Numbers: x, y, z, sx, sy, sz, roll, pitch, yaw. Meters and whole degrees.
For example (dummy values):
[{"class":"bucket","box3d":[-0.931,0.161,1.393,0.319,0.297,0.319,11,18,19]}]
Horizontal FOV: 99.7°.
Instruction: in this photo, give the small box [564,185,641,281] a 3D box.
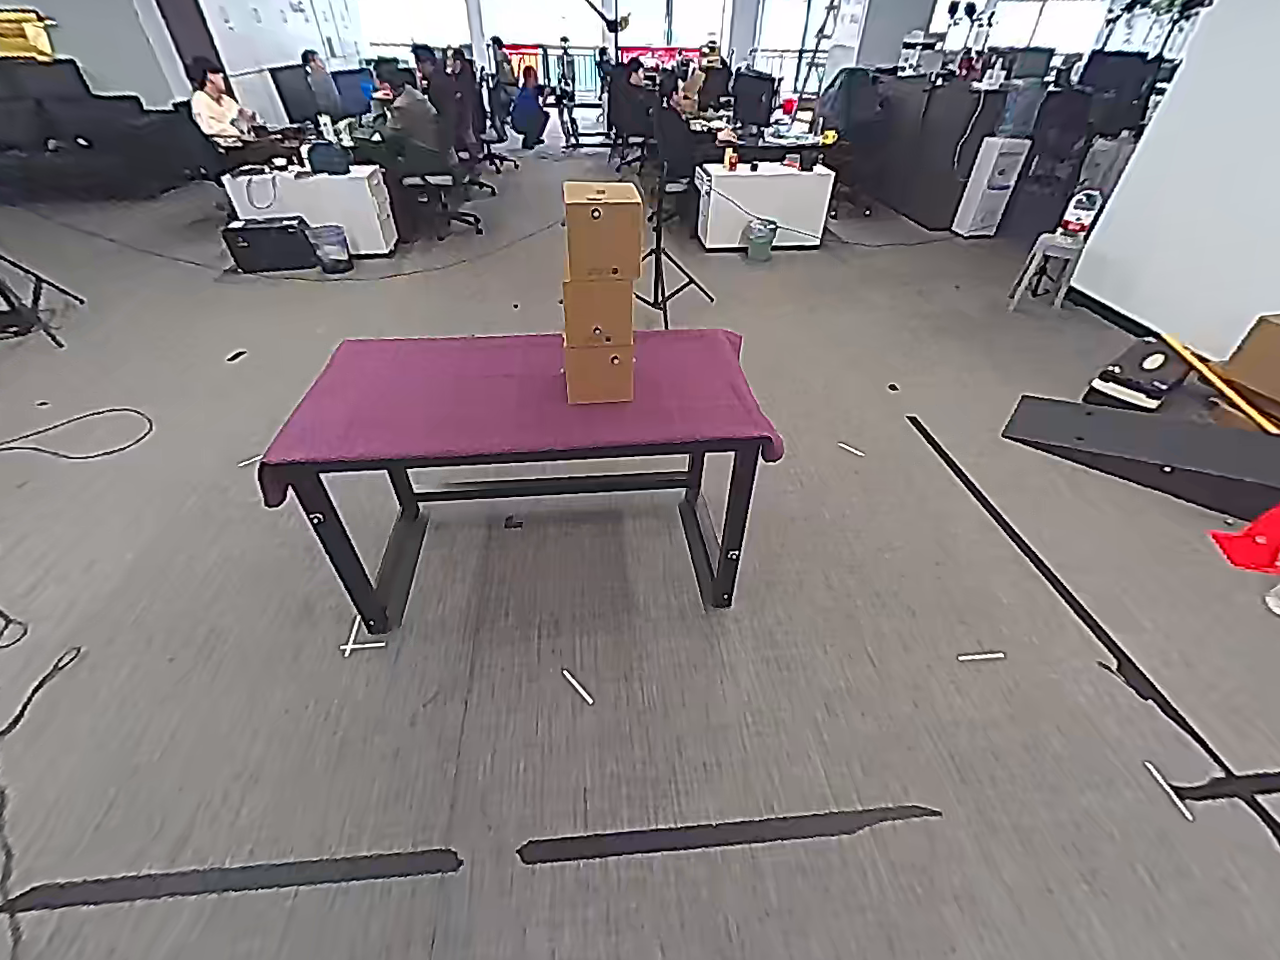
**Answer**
[{"class":"small box","box3d":[-0.090,-0.572,1.251,0.168,0.176,0.179,-5,40,-6]}]

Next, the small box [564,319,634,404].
[{"class":"small box","box3d":[-0.113,-0.320,1.461,0.179,0.176,0.168,-5,40,-6]}]
